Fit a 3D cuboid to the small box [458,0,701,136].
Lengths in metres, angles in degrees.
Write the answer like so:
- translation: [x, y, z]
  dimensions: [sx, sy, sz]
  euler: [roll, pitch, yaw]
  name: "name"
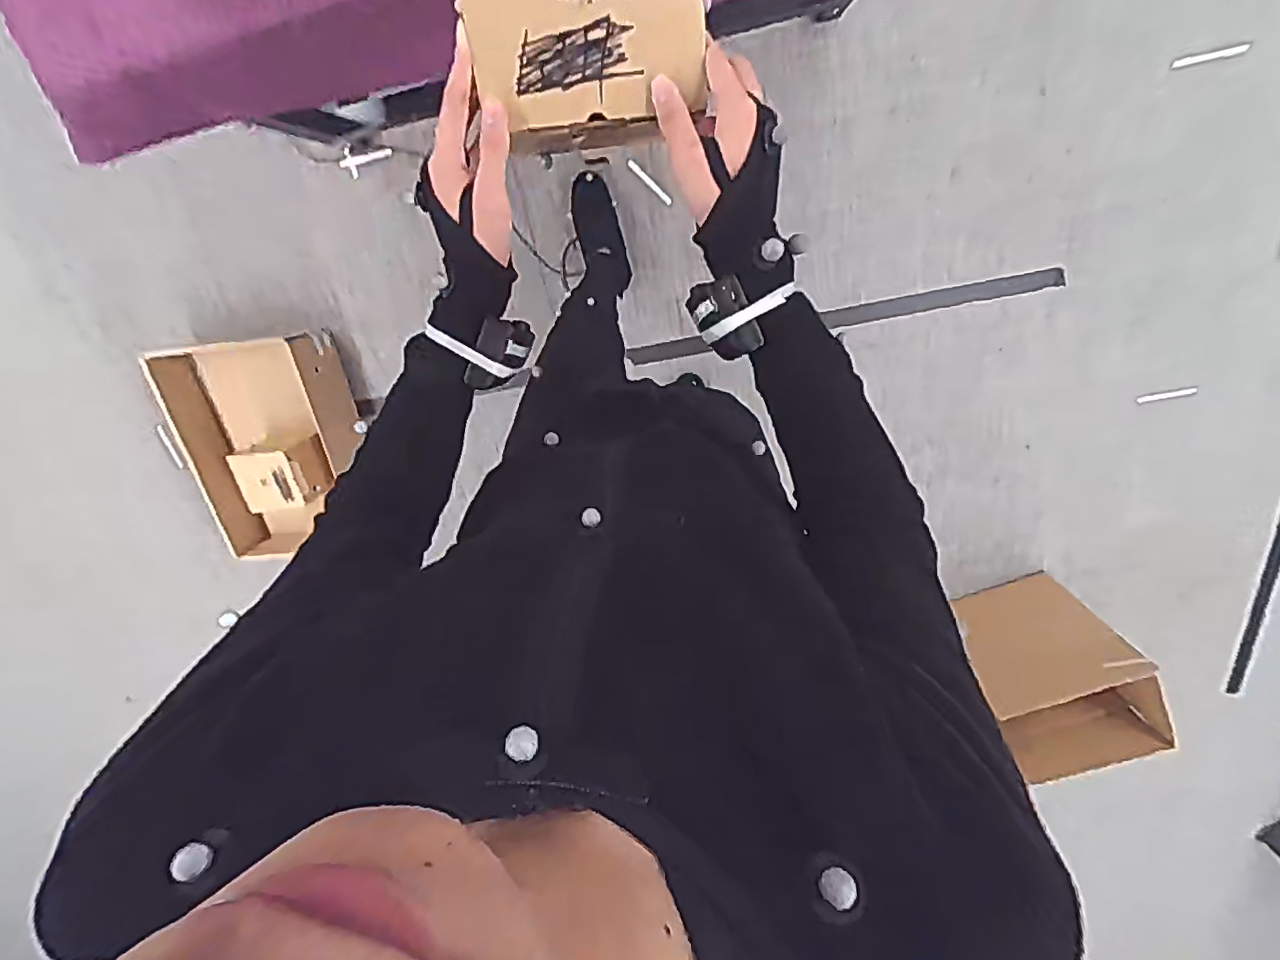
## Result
- translation: [-0.048, -0.383, 0.424]
  dimensions: [0.168, 0.176, 0.179]
  euler: [-7, 116, -2]
  name: "small box"
